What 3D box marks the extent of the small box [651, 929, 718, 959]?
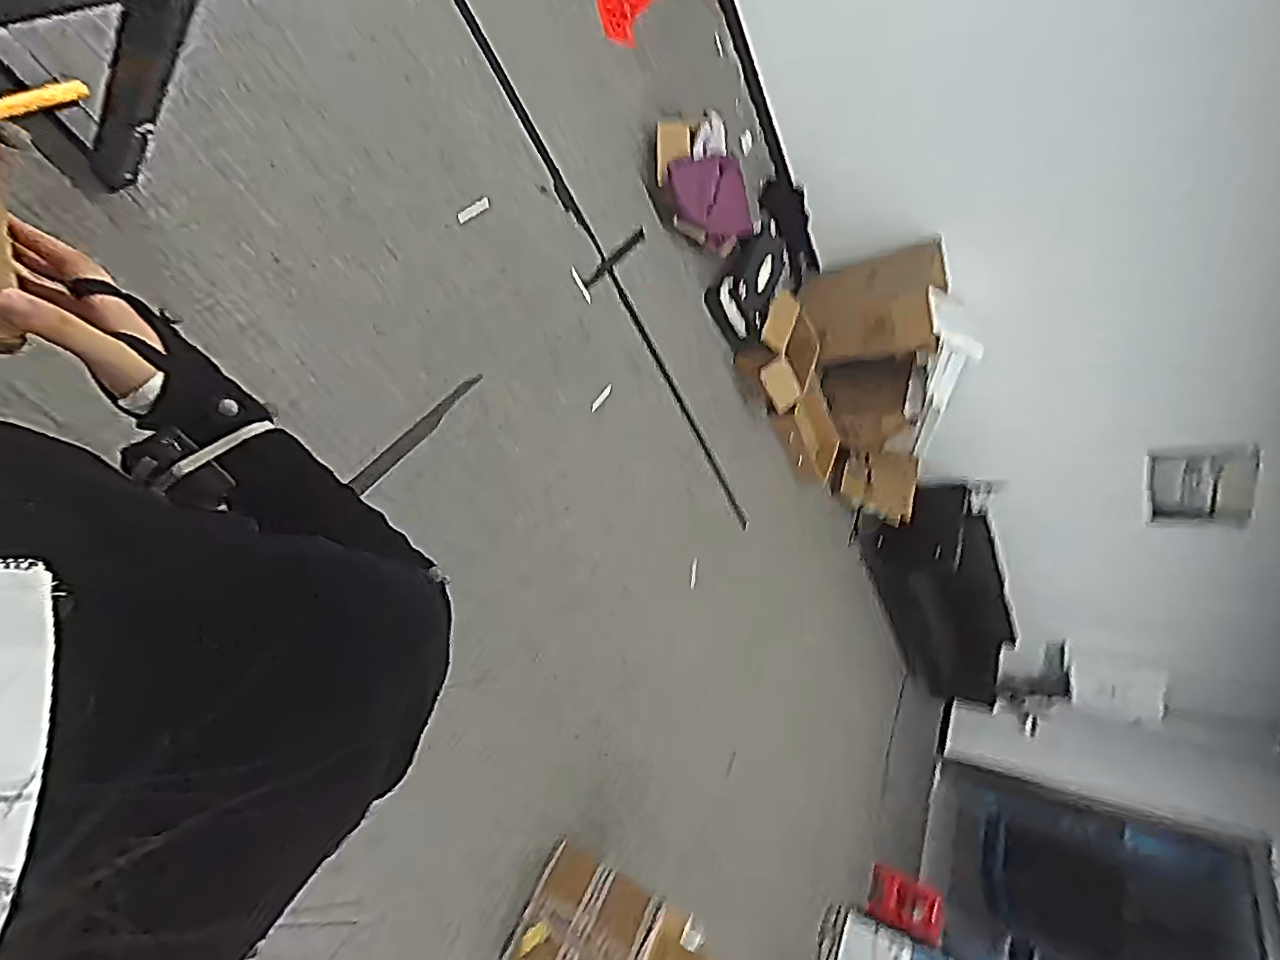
[{"bbox_3d":[0.140,1.485,1.608,0.179,0.176,0.168,53,50,-29],"label":"small box"}]
